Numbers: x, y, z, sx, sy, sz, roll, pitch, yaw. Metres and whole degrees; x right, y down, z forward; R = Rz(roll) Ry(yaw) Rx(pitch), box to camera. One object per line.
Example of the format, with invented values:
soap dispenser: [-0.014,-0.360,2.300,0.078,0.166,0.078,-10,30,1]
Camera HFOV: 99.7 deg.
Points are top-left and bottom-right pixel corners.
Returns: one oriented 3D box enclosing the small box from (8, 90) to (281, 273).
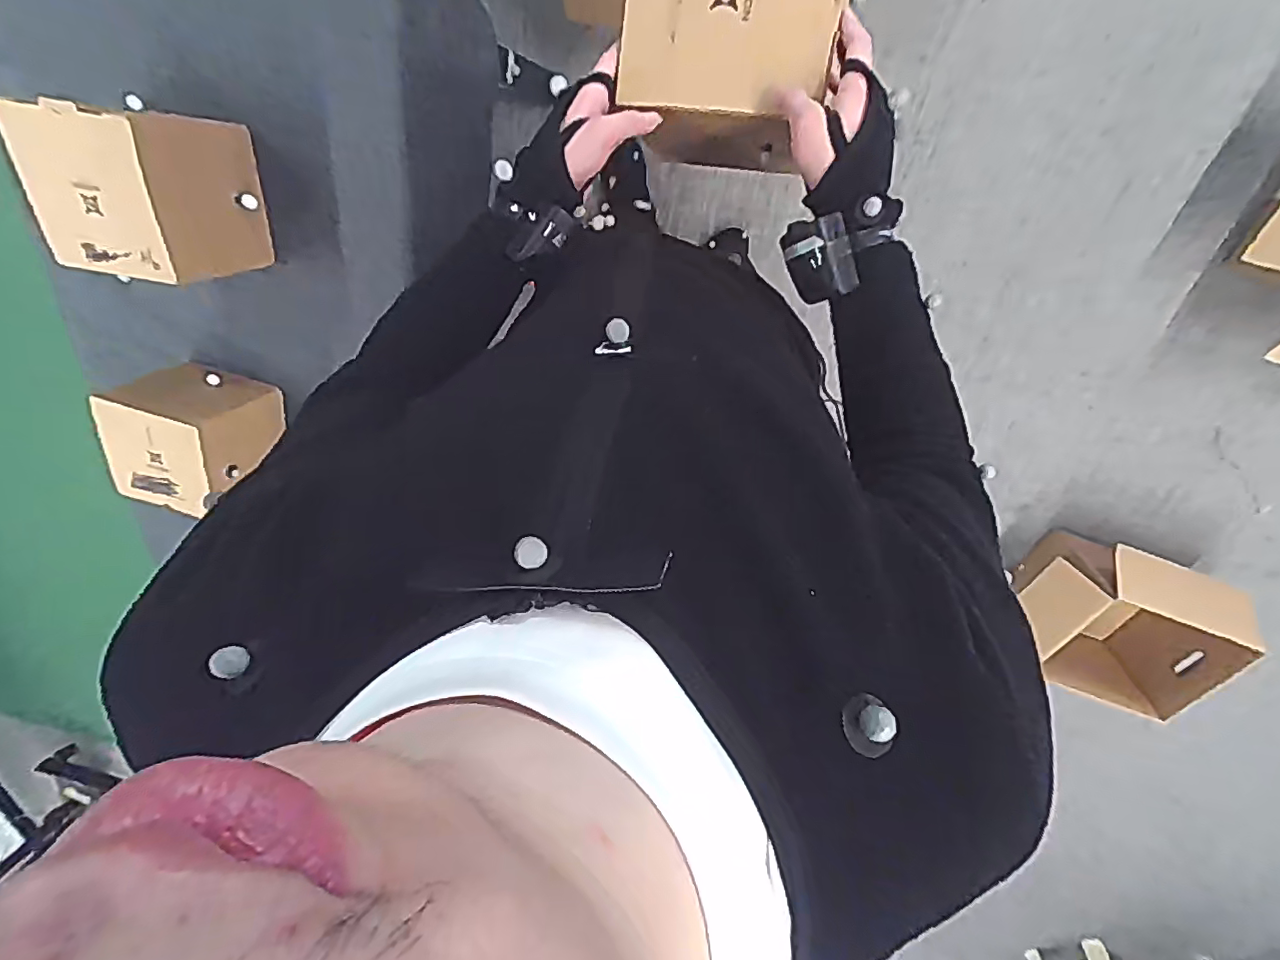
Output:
small box: [-0.612,-0.381,0.699,0.168,0.176,0.179,8,121,4]

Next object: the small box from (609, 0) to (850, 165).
small box: [0.089,-0.398,0.482,0.179,0.176,0.168,13,107,12]

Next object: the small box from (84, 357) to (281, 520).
small box: [-0.712,-0.072,0.868,0.168,0.176,0.179,19,121,-3]
